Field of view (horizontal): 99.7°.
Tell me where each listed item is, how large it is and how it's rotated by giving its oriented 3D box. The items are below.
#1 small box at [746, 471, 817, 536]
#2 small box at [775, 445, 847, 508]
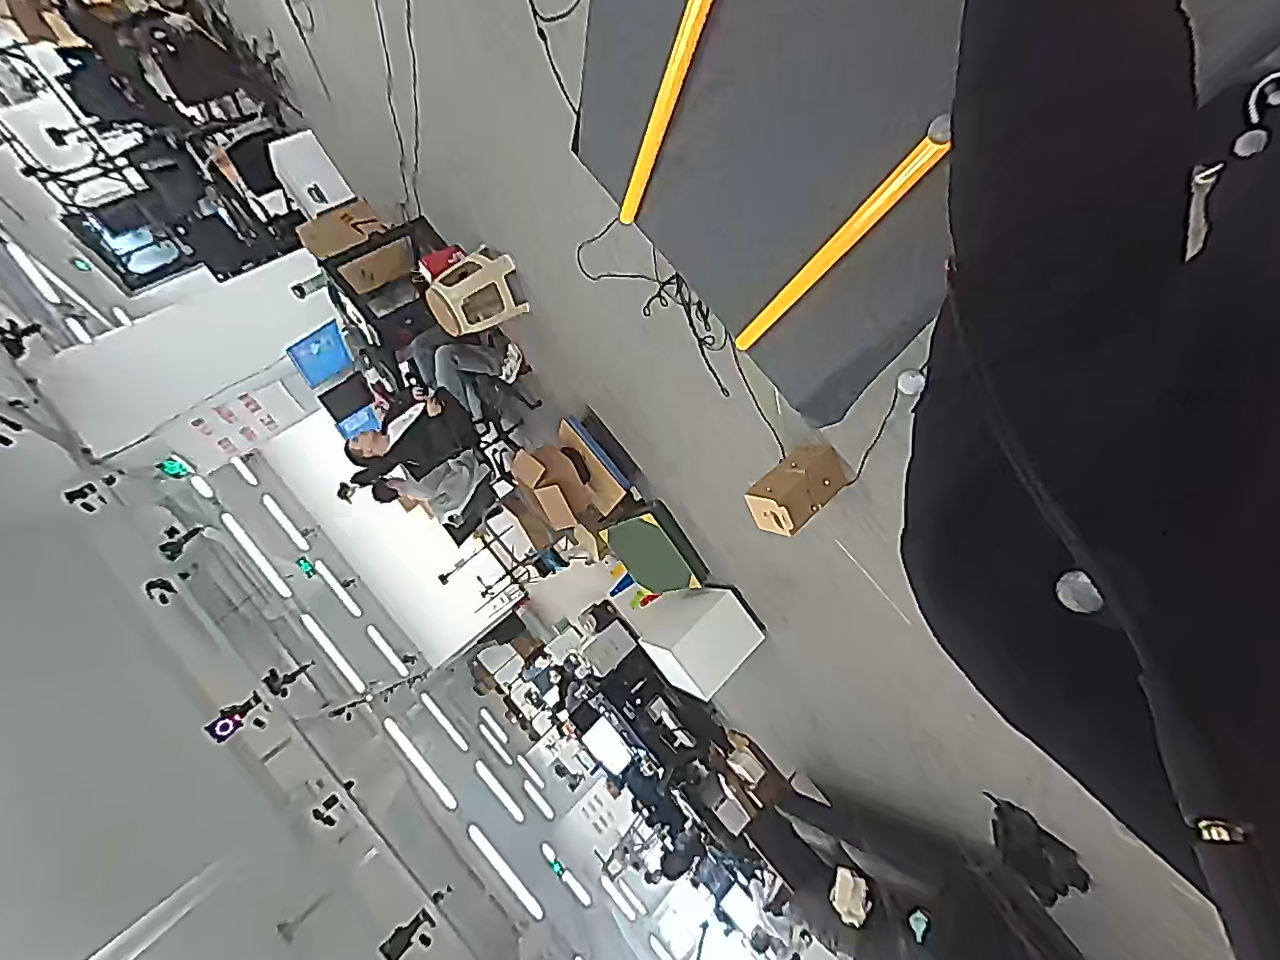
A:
[{"bbox_3d":[0.531,0.080,2.008,0.179,0.176,0.168,13,135,58],"label":"small box"},{"bbox_3d":[0.655,-0.016,2.060,0.179,0.176,0.168,59,157,-18],"label":"small box"}]
